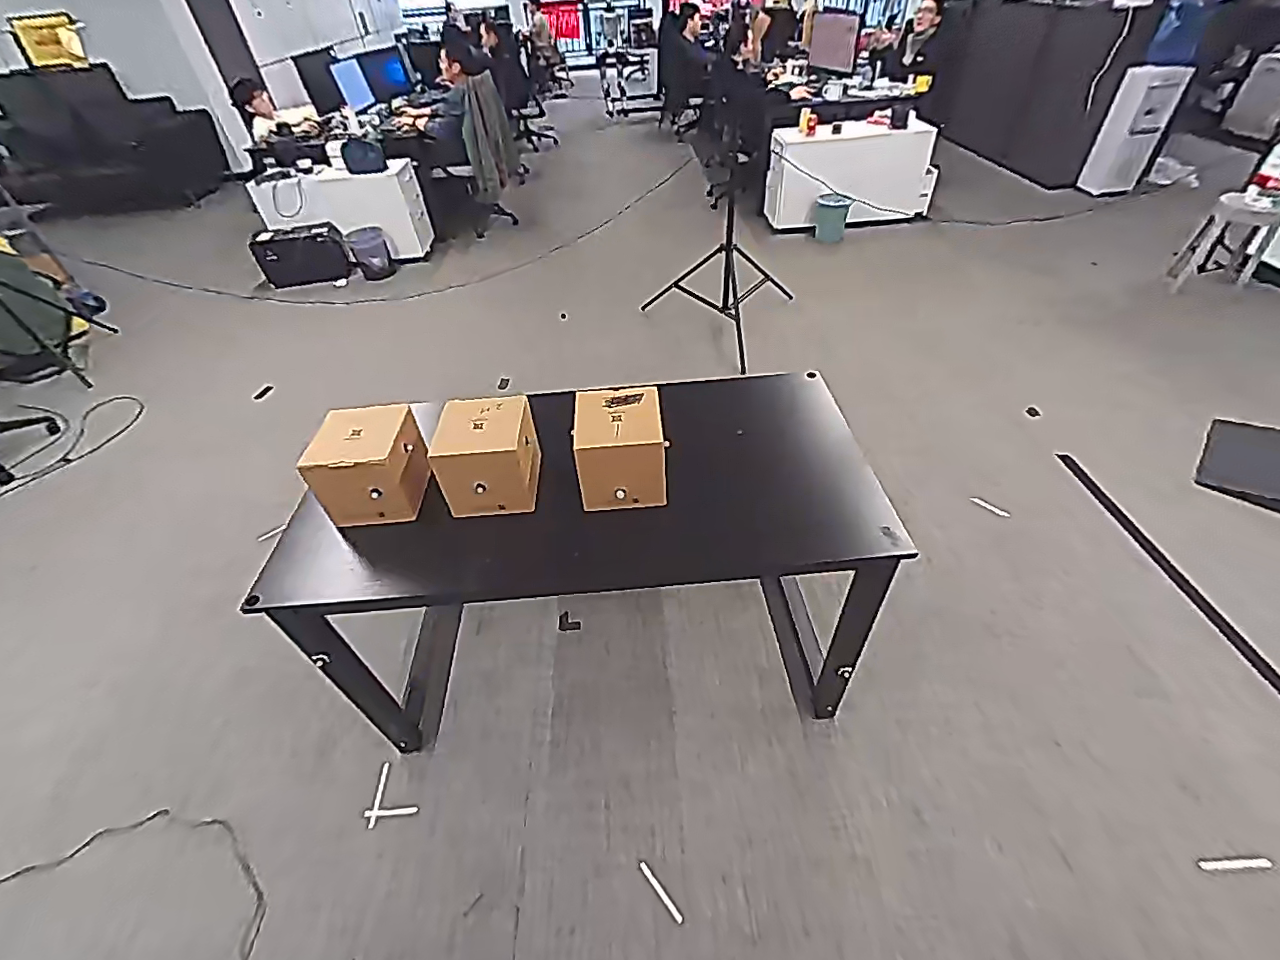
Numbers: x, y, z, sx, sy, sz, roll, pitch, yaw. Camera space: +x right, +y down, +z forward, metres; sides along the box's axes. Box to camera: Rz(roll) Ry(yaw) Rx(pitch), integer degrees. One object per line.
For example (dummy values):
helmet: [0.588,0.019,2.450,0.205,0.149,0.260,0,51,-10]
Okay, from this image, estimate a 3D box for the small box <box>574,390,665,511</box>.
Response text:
small box: [-0.037,-0.059,1.086,0.168,0.176,0.179,-4,44,1]

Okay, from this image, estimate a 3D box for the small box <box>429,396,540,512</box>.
small box: [-0.302,-0.046,1.094,0.168,0.176,0.179,-4,43,0]

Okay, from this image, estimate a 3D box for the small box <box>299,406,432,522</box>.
small box: [-0.541,-0.027,1.097,0.168,0.176,0.179,-4,42,-1]
